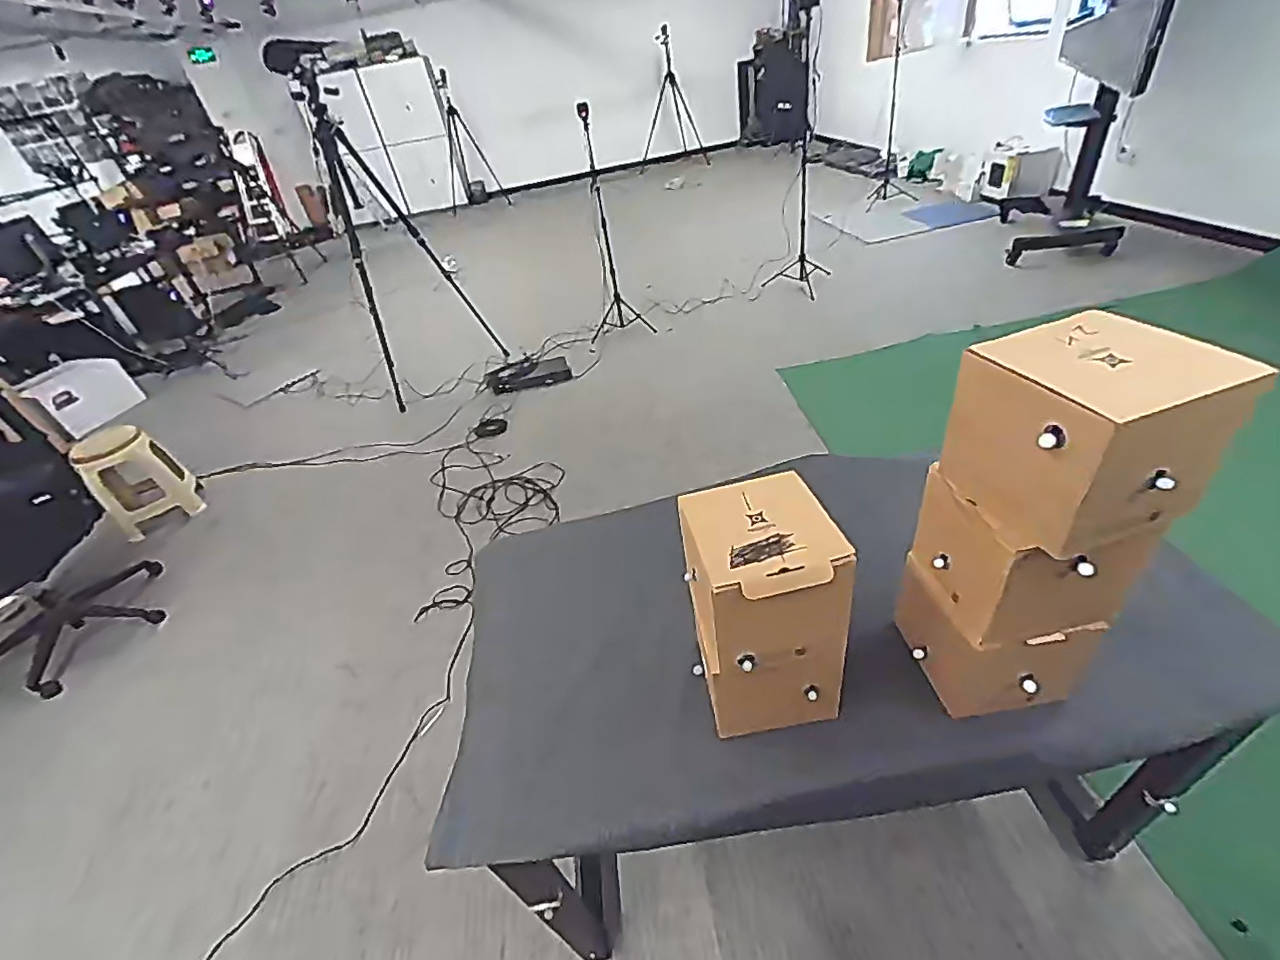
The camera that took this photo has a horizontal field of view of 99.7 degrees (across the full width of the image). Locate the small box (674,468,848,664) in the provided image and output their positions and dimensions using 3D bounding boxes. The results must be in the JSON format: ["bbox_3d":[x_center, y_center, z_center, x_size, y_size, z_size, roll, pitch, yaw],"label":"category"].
[{"bbox_3d":[0.150,0.114,0.697,0.168,0.176,0.179,-13,36,-2],"label":"small box"}]

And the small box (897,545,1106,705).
[{"bbox_3d":[0.489,0.197,0.766,0.168,0.176,0.179,-11,38,2],"label":"small box"}]

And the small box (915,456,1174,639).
[{"bbox_3d":[0.471,0.068,0.667,0.179,0.176,0.168,-13,37,0],"label":"small box"}]

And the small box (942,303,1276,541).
[{"bbox_3d":[0.452,-0.057,0.560,0.168,0.176,0.179,-17,37,-6],"label":"small box"}]

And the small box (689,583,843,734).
[{"bbox_3d":[0.178,0.243,0.794,0.179,0.176,0.168,-12,36,1],"label":"small box"}]
